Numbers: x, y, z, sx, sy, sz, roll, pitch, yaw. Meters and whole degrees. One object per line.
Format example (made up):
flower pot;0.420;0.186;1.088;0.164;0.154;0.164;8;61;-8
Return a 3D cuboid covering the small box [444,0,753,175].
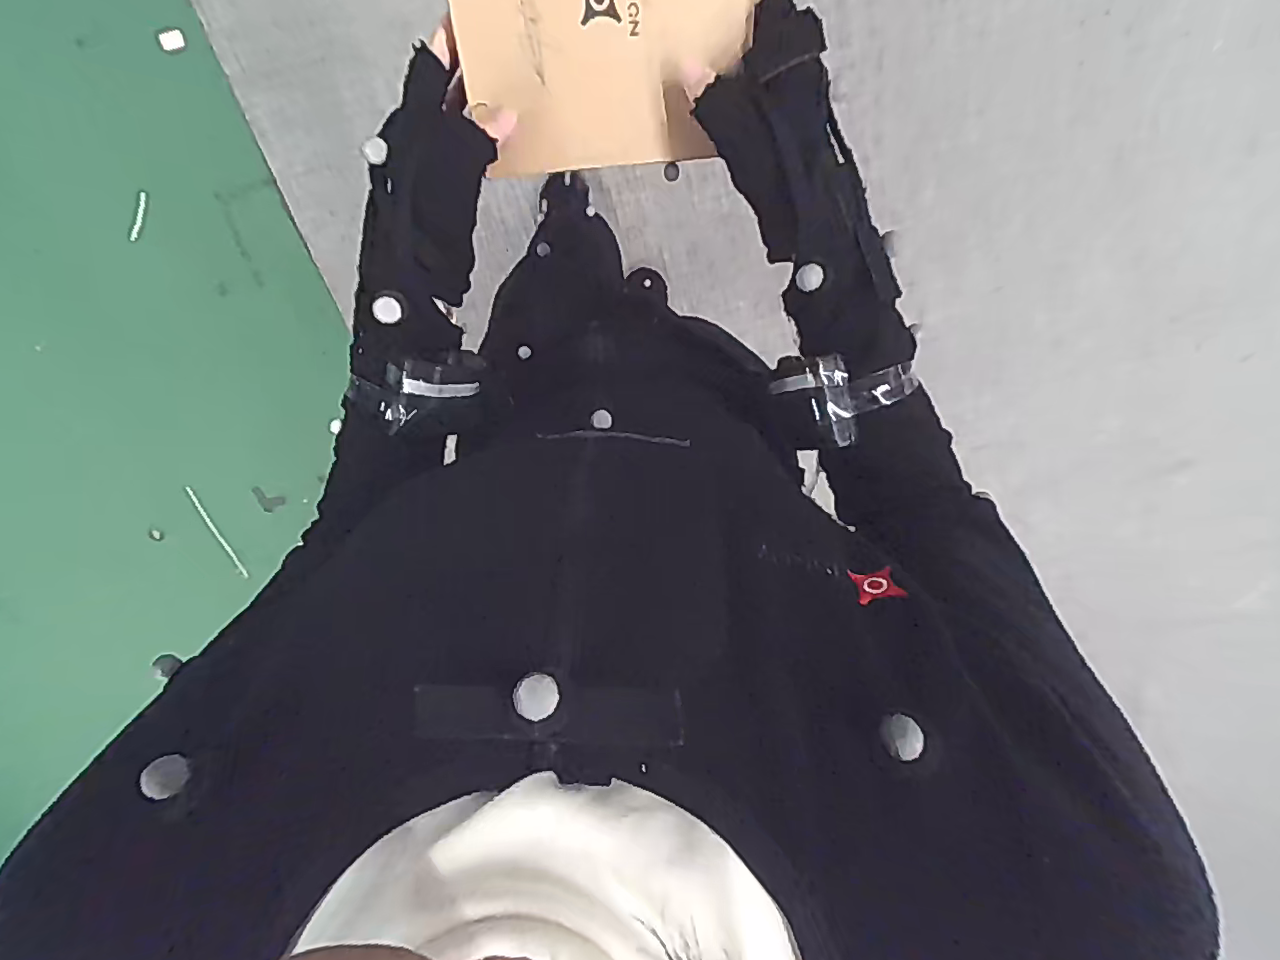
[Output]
small box;-0.029;-0.314;0.371;0.179;0.176;0.168;-7;120;0
